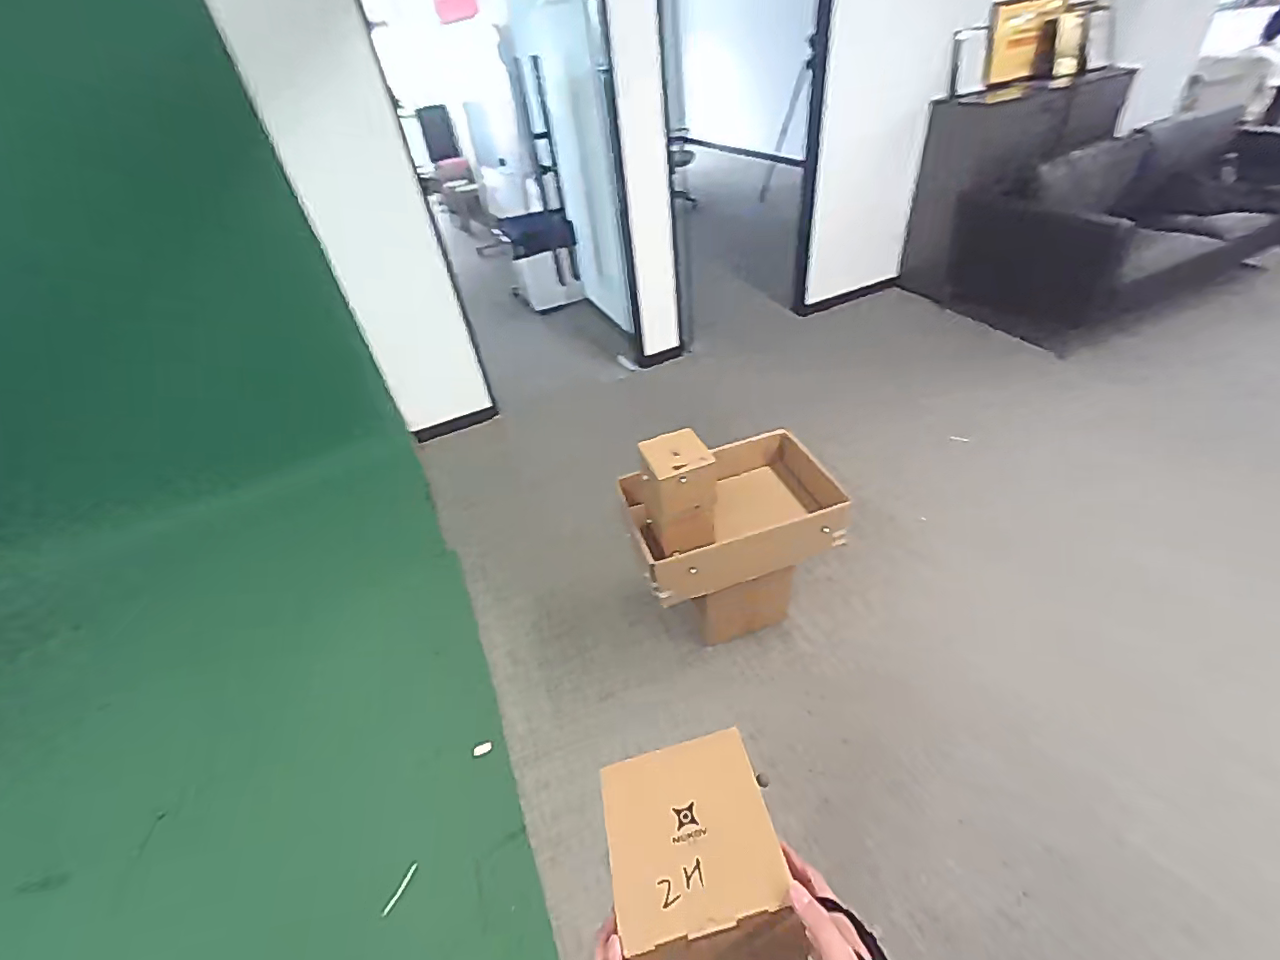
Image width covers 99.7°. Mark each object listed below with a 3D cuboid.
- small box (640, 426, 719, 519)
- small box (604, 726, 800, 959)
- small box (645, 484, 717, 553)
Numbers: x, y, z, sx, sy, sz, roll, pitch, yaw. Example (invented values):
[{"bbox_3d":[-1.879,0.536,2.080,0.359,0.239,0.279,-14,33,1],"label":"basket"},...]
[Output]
[{"bbox_3d":[0.112,-0.019,1.530,0.168,0.176,0.179,-20,42,-10],"label":"small box"},{"bbox_3d":[0.064,0.415,0.598,0.168,0.176,0.179,-16,32,1],"label":"small box"},{"bbox_3d":[0.128,0.102,1.639,0.168,0.176,0.179,-17,41,-9],"label":"small box"}]
